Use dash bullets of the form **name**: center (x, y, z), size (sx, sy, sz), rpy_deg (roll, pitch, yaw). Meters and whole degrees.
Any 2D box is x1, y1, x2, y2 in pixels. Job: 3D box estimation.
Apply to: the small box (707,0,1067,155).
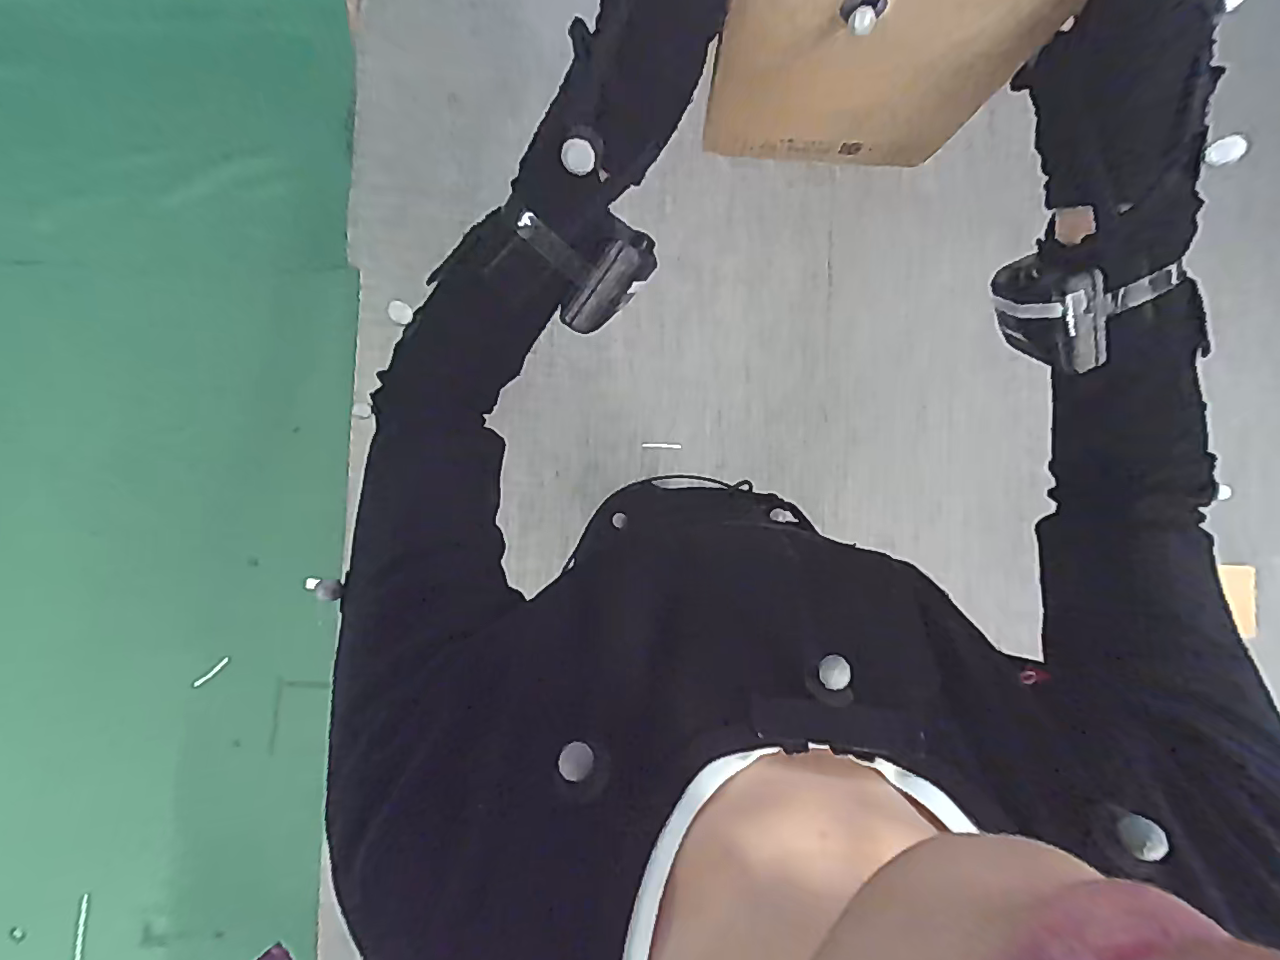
- **small box**: center (0.133, -0.325, 0.310), size (0.168, 0.176, 0.179), rpy_deg (4, 94, 1)
